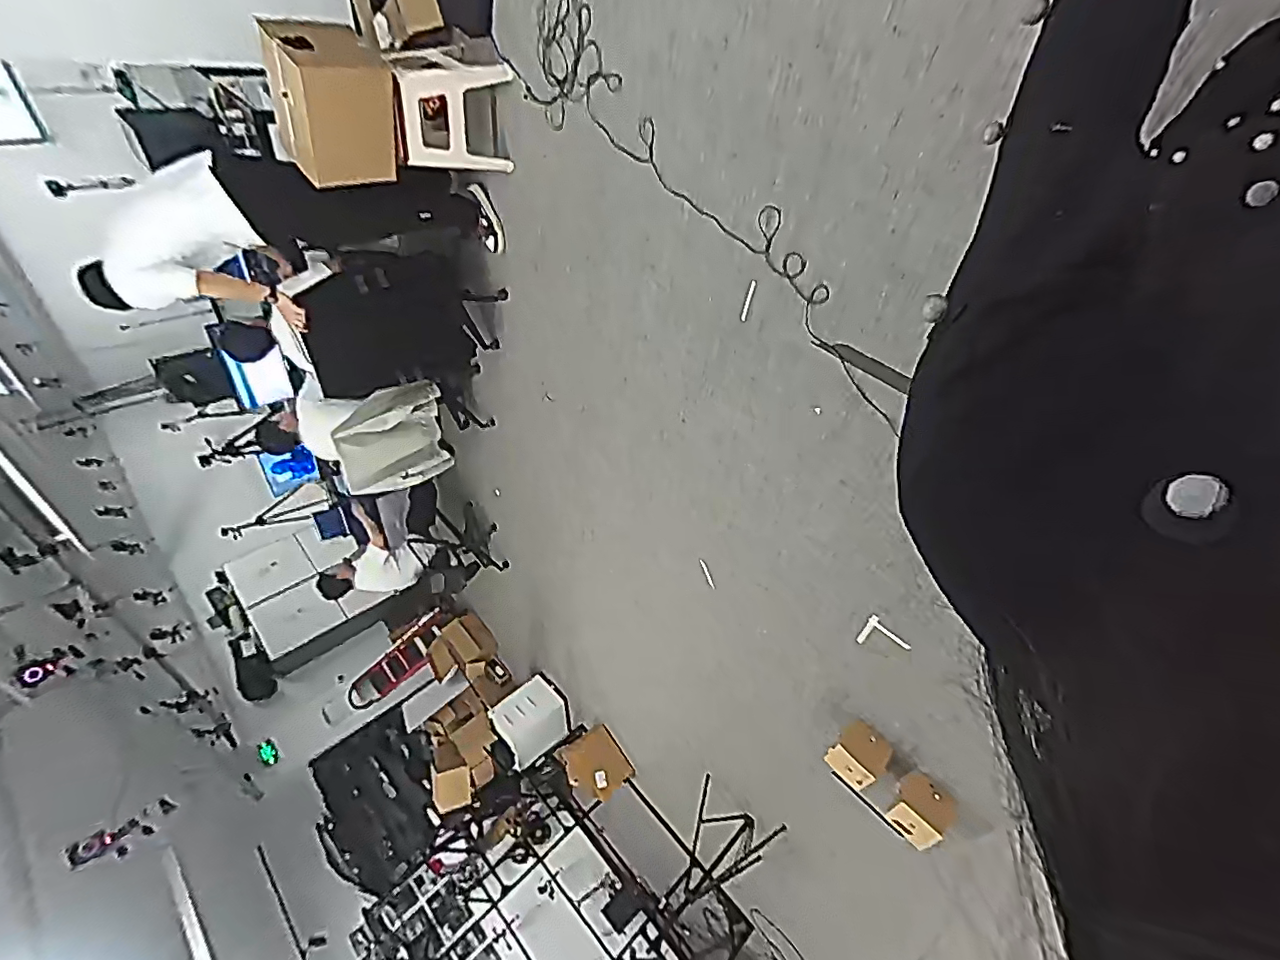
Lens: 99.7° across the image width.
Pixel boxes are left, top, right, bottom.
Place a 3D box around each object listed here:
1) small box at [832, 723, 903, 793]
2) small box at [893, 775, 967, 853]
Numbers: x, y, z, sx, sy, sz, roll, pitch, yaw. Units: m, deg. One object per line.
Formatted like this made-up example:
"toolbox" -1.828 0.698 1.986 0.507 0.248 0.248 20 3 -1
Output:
"small box" 0.931 1.130 2.214 0.179 0.176 0.168 42 141 26
"small box" 1.120 1.285 2.085 0.168 0.176 0.179 38 139 28
